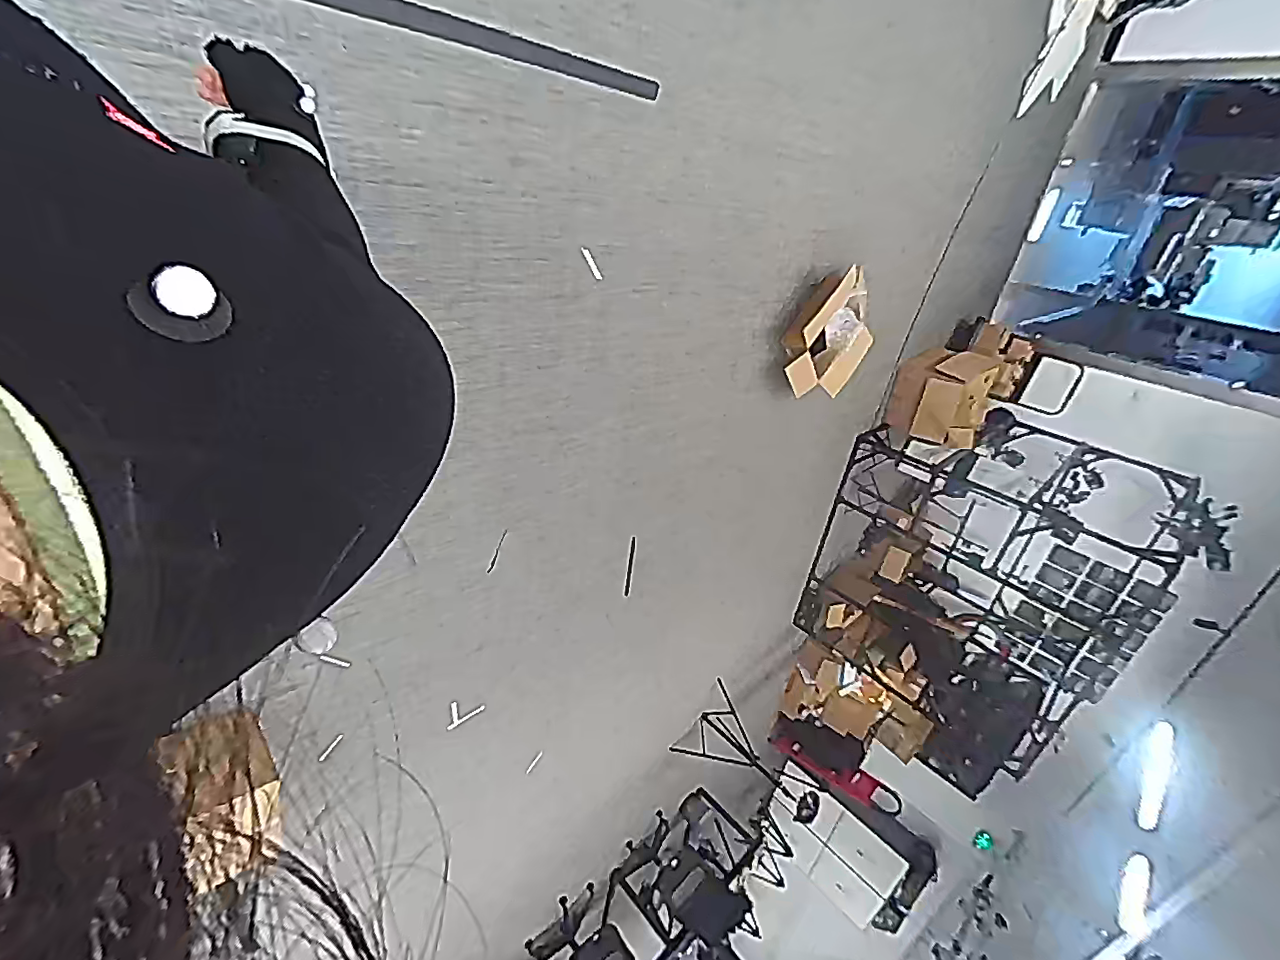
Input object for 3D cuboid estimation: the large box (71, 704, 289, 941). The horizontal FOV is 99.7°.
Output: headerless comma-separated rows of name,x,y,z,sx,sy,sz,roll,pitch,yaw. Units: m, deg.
large box,-1.257,0.914,1.504,0.408,0.320,0.320,-13,124,-46
